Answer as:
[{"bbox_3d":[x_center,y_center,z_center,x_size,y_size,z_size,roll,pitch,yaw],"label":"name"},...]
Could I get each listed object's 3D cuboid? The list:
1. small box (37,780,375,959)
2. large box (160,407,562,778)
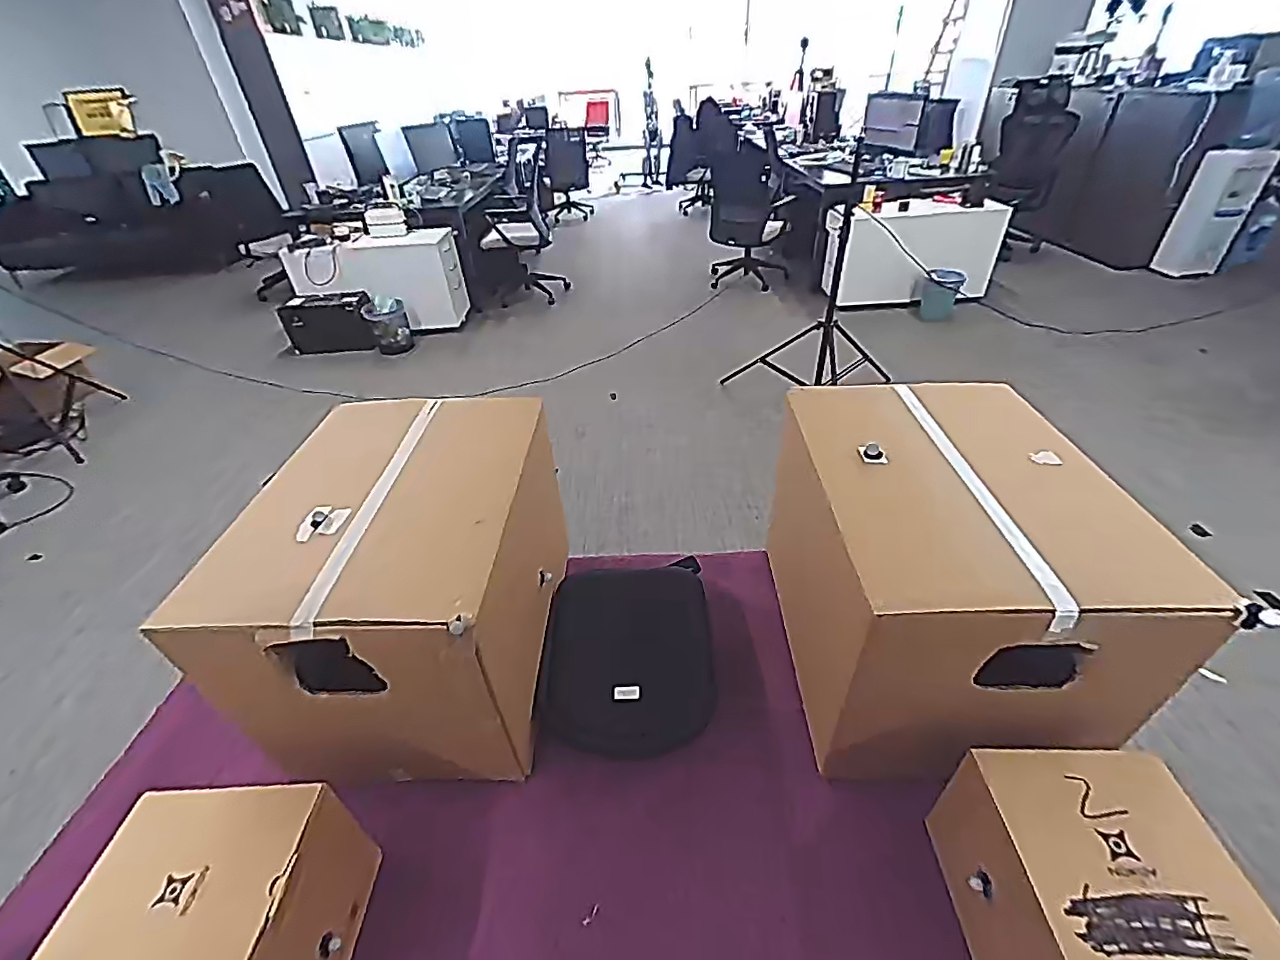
[{"bbox_3d":[-0.385,0.410,0.507,0.179,0.176,0.168,-3,36,-1],"label":"small box"},{"bbox_3d":[-0.293,0.137,0.744,0.320,0.320,0.408,-2,40,2],"label":"large box"}]
